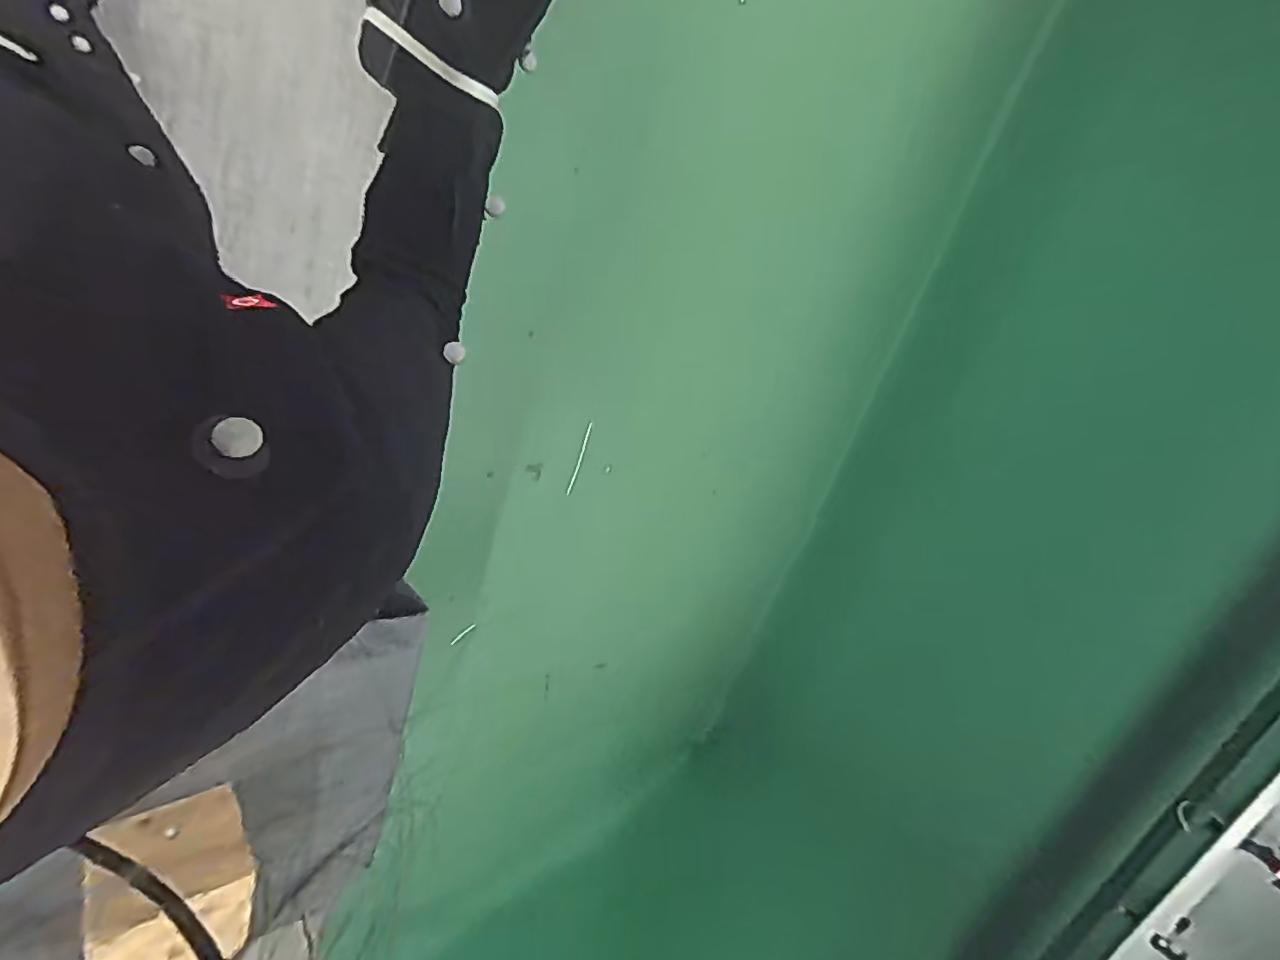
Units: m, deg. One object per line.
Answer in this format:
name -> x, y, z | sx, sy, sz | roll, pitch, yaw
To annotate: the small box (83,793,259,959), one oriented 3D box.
small box -> -0.673, 0.601, 0.774 | 0.168, 0.176, 0.179 | -1, 117, -49
